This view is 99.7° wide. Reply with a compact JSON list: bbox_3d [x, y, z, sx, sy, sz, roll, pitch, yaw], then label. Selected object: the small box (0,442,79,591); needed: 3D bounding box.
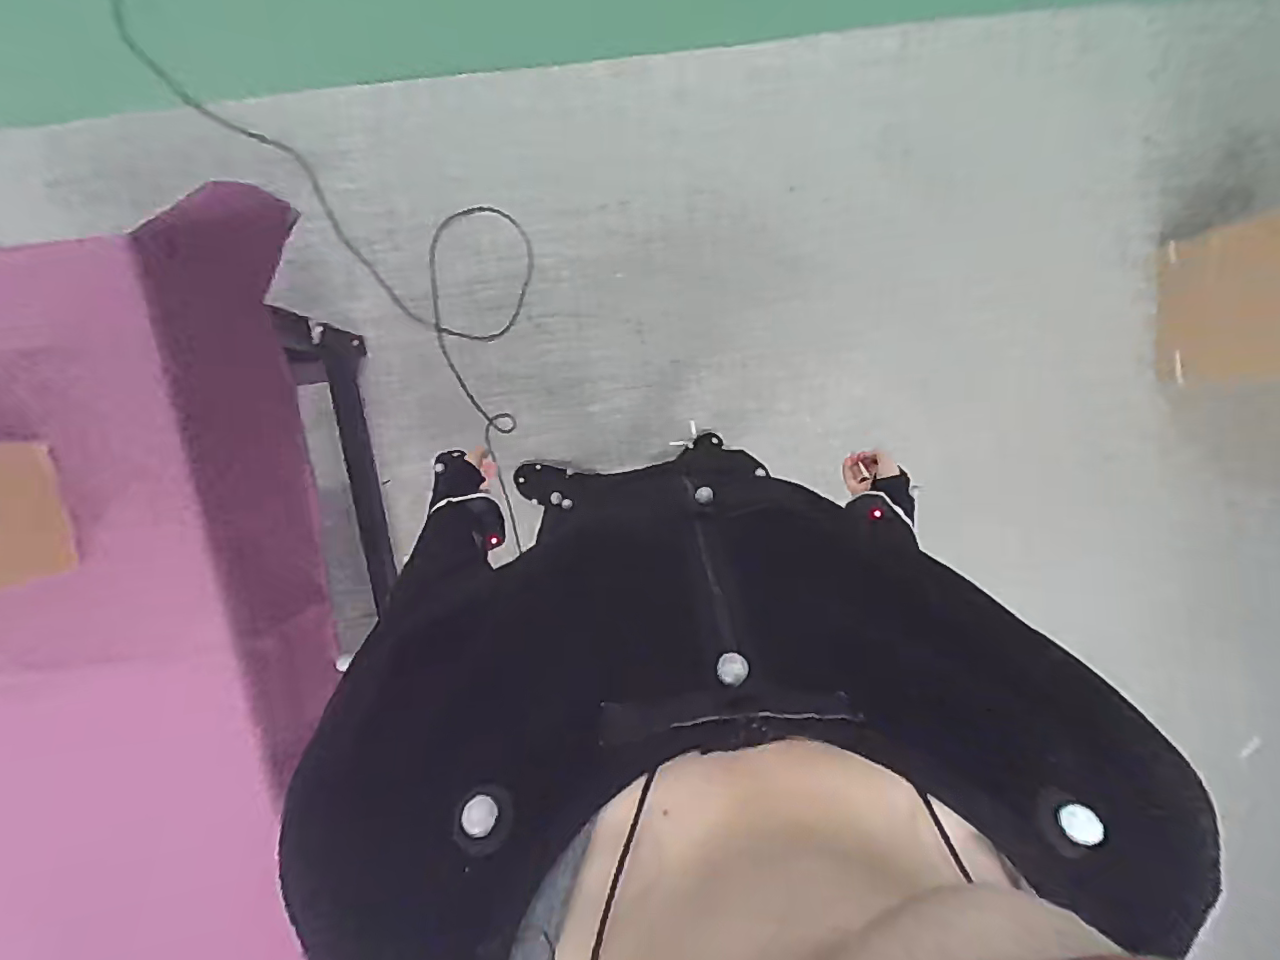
[{"bbox_3d":[-0.826,0.054,0.632,0.168,0.176,0.179,-8,97,-4],"label":"small box"}]
